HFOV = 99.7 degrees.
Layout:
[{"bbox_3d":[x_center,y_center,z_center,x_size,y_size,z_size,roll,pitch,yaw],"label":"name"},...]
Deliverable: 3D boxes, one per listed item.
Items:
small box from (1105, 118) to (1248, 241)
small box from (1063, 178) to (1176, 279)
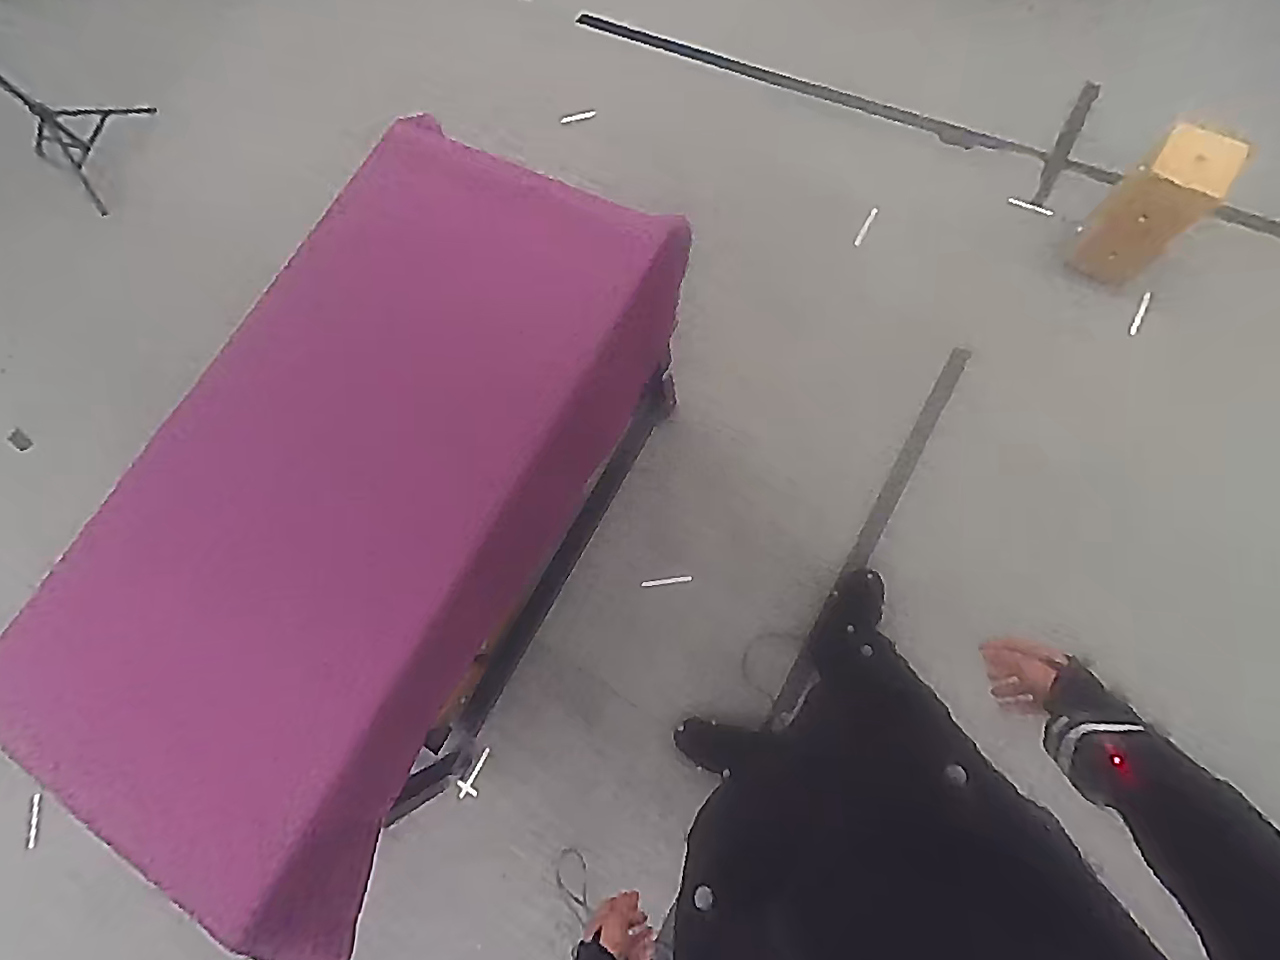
[{"bbox_3d":[1.329,-0.746,1.354,0.168,0.176,0.179,31,82,13],"label":"small box"},{"bbox_3d":[1.345,-0.692,1.507,0.179,0.176,0.168,26,80,13],"label":"small box"}]
